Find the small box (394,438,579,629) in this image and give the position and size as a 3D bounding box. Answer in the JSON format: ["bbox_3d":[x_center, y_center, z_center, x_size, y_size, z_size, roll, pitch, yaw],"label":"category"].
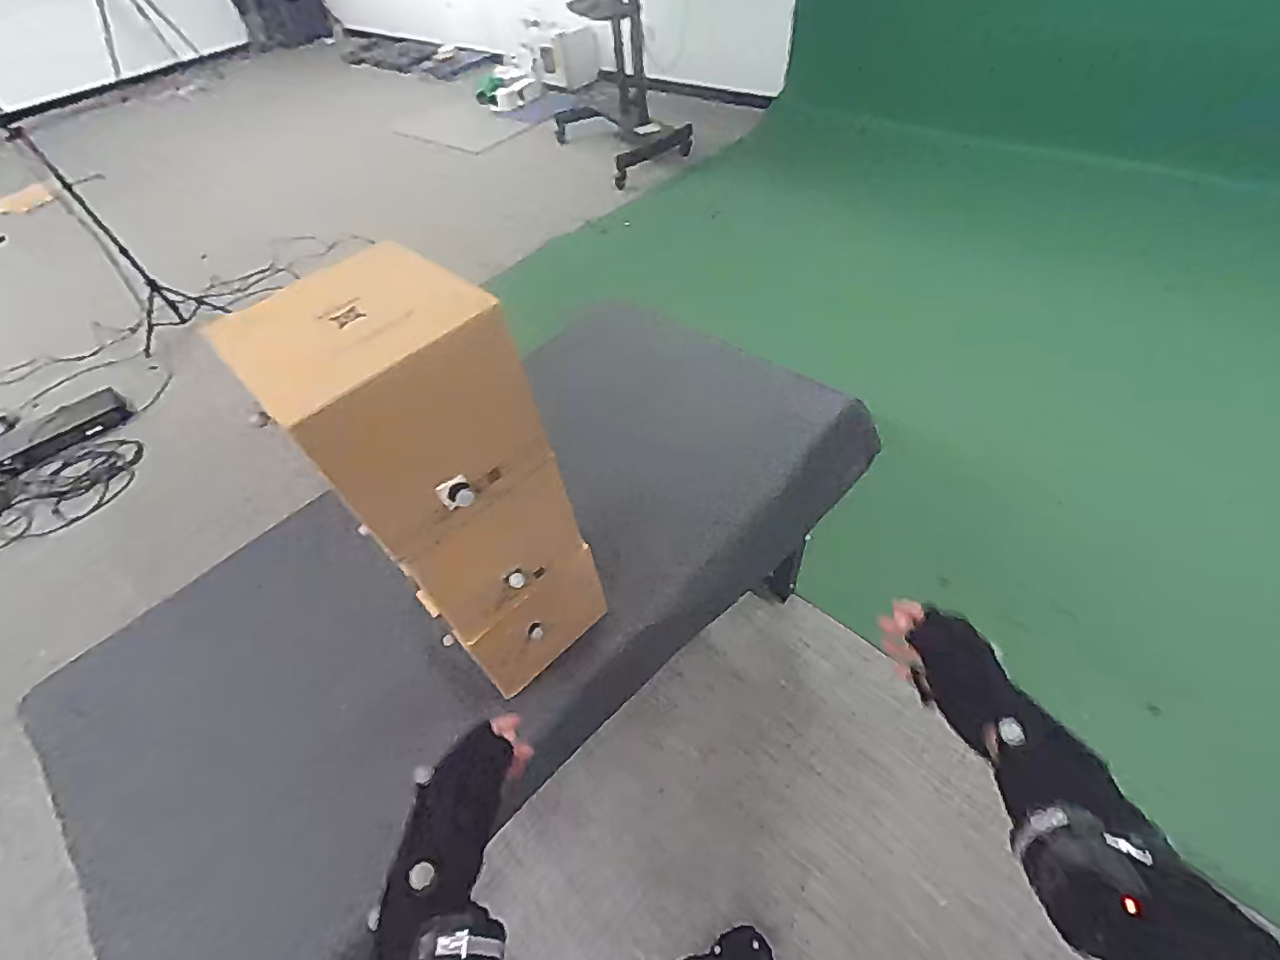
[{"bbox_3d":[-0.193,0.028,0.590,0.179,0.176,0.168,33,62,32],"label":"small box"}]

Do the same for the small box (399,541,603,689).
[{"bbox_3d":[-0.170,0.138,0.710,0.179,0.176,0.168,-39,55,-22],"label":"small box"}]

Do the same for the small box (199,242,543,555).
[{"bbox_3d":[-0.211,-0.068,0.461,0.179,0.176,0.168,35,64,30],"label":"small box"}]
